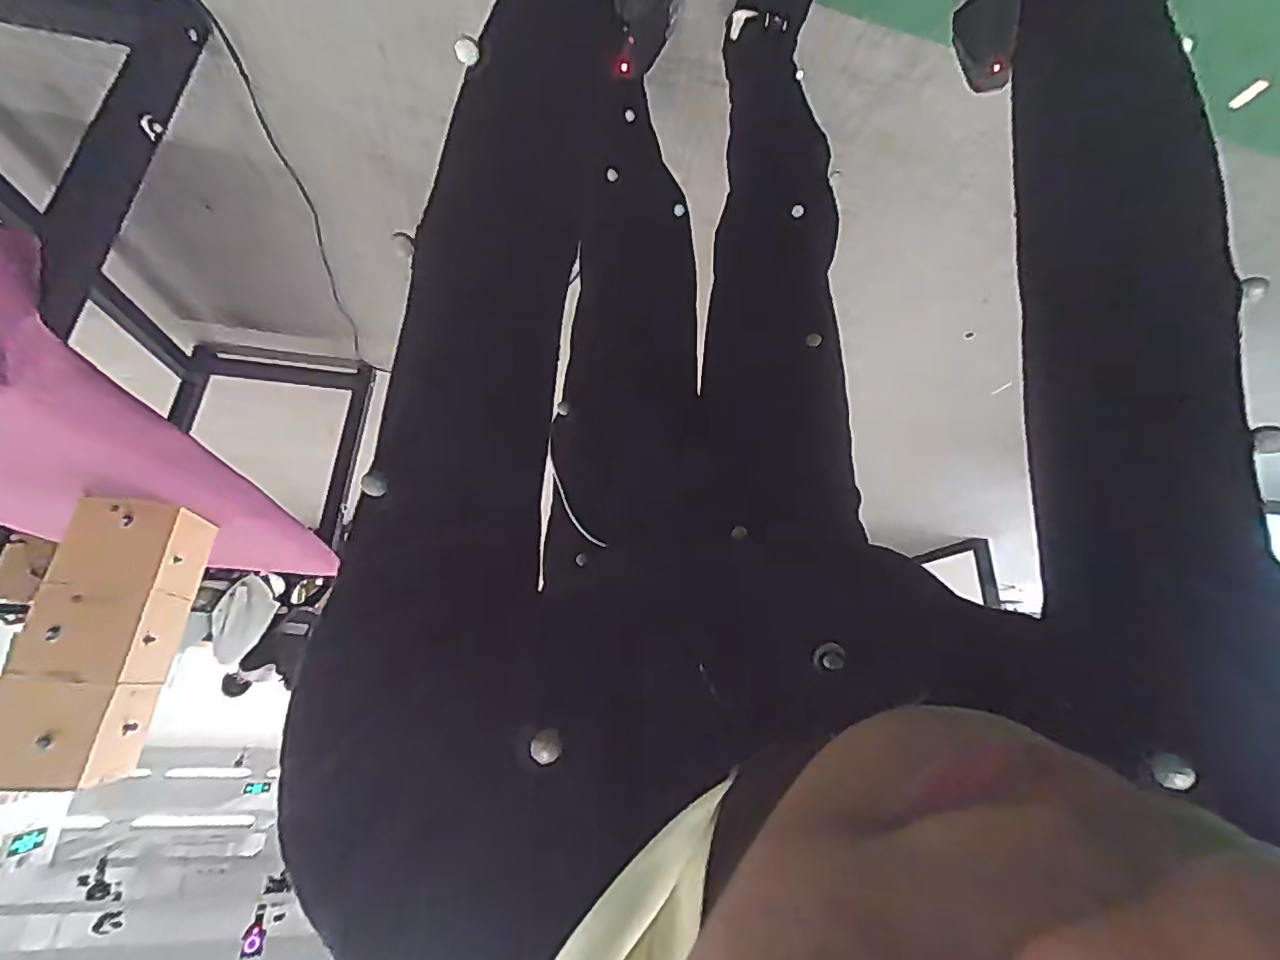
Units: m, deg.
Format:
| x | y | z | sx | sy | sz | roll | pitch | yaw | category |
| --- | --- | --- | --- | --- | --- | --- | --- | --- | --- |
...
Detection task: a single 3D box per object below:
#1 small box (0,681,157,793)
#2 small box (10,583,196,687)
| x | y | z | sx | sy | sz | roll | pitch | yaw | category |
| --- | --- | --- | --- | --- | --- | --- | --- | --- | --- |
| -1.013 | 0.447 | 0.963 | 0.179 | 0.176 | 0.168 | 9 | 156 | -14 | small box |
| -0.998 | 0.298 | 1.027 | 0.168 | 0.176 | 0.179 | 9 | 157 | -14 | small box |
